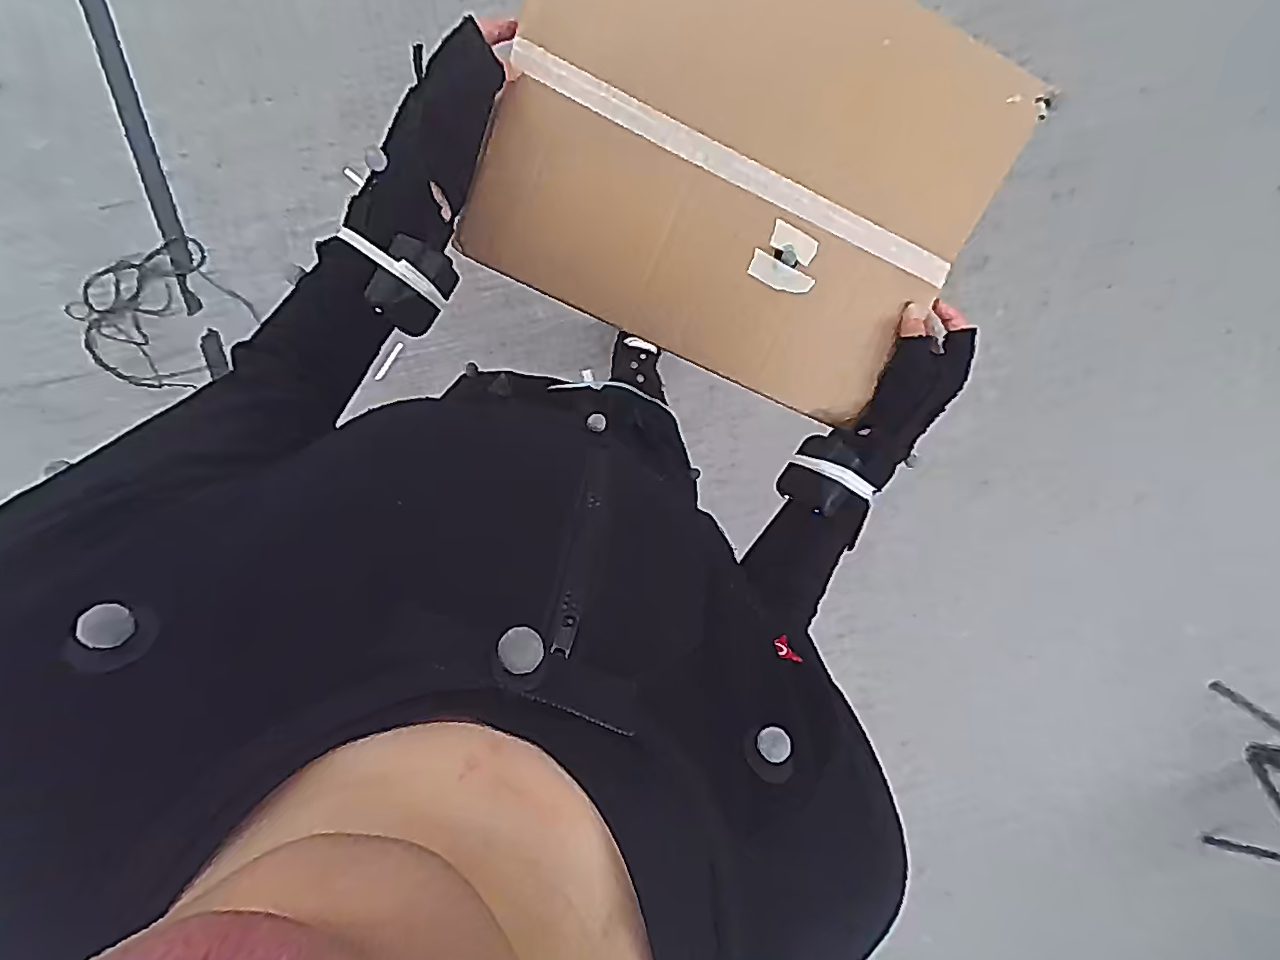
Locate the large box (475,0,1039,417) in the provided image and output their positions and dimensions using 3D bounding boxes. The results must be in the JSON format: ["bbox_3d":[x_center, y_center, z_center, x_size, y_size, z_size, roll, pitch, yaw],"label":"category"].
[{"bbox_3d":[0.088,-0.313,0.603,0.408,0.320,0.320,23,107,-9],"label":"large box"}]
